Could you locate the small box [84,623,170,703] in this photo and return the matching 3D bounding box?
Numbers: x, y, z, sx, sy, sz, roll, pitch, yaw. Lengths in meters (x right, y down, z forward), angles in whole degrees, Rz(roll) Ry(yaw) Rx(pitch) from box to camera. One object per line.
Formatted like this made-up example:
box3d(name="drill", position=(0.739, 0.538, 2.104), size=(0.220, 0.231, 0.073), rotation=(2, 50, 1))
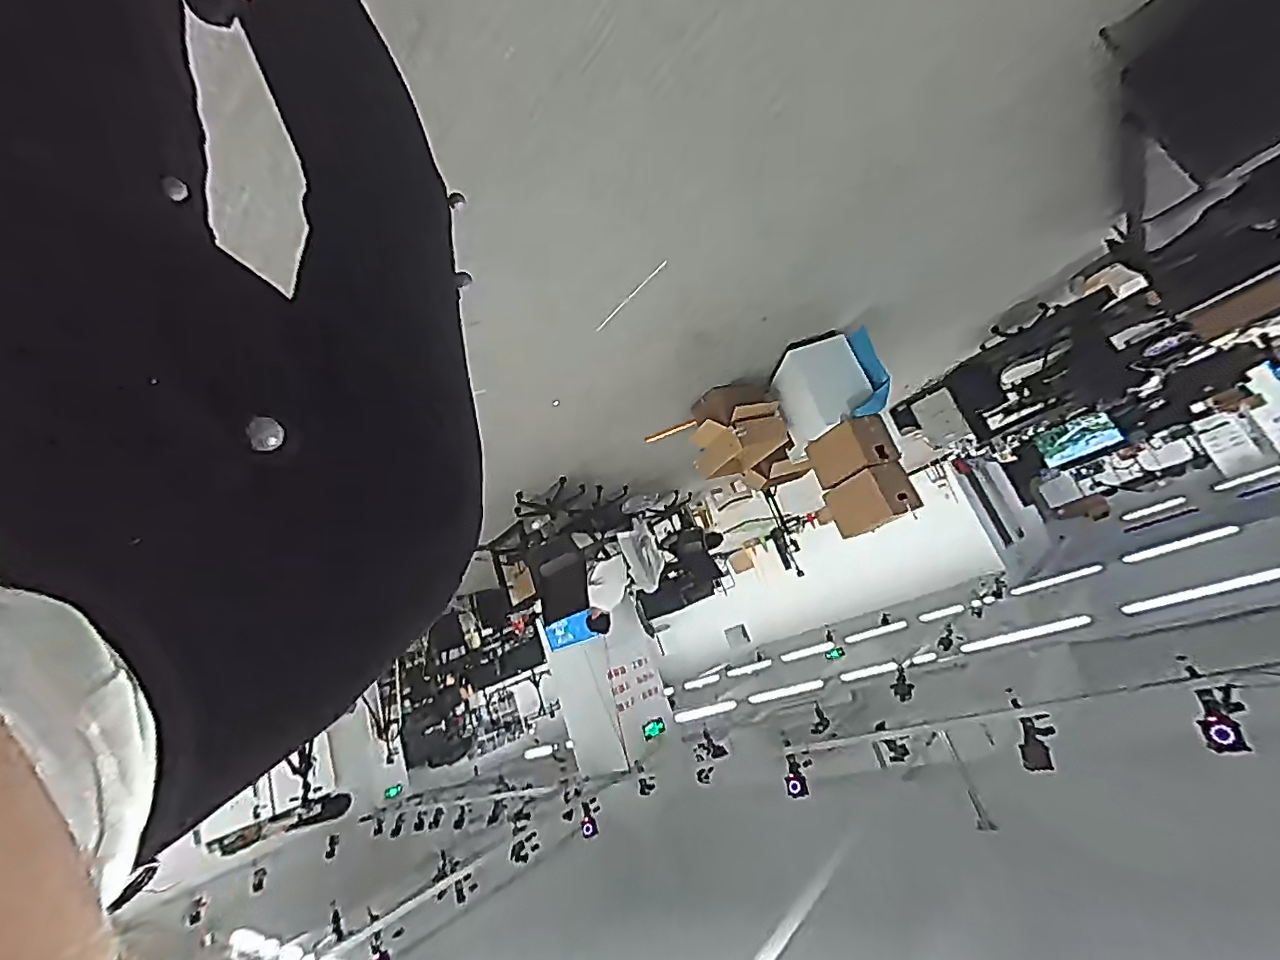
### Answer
box3d(name="small box", position=(-1.544, 0.545, 1.625), size=(0.179, 0.176, 0.168), rotation=(-2, 156, -48))
